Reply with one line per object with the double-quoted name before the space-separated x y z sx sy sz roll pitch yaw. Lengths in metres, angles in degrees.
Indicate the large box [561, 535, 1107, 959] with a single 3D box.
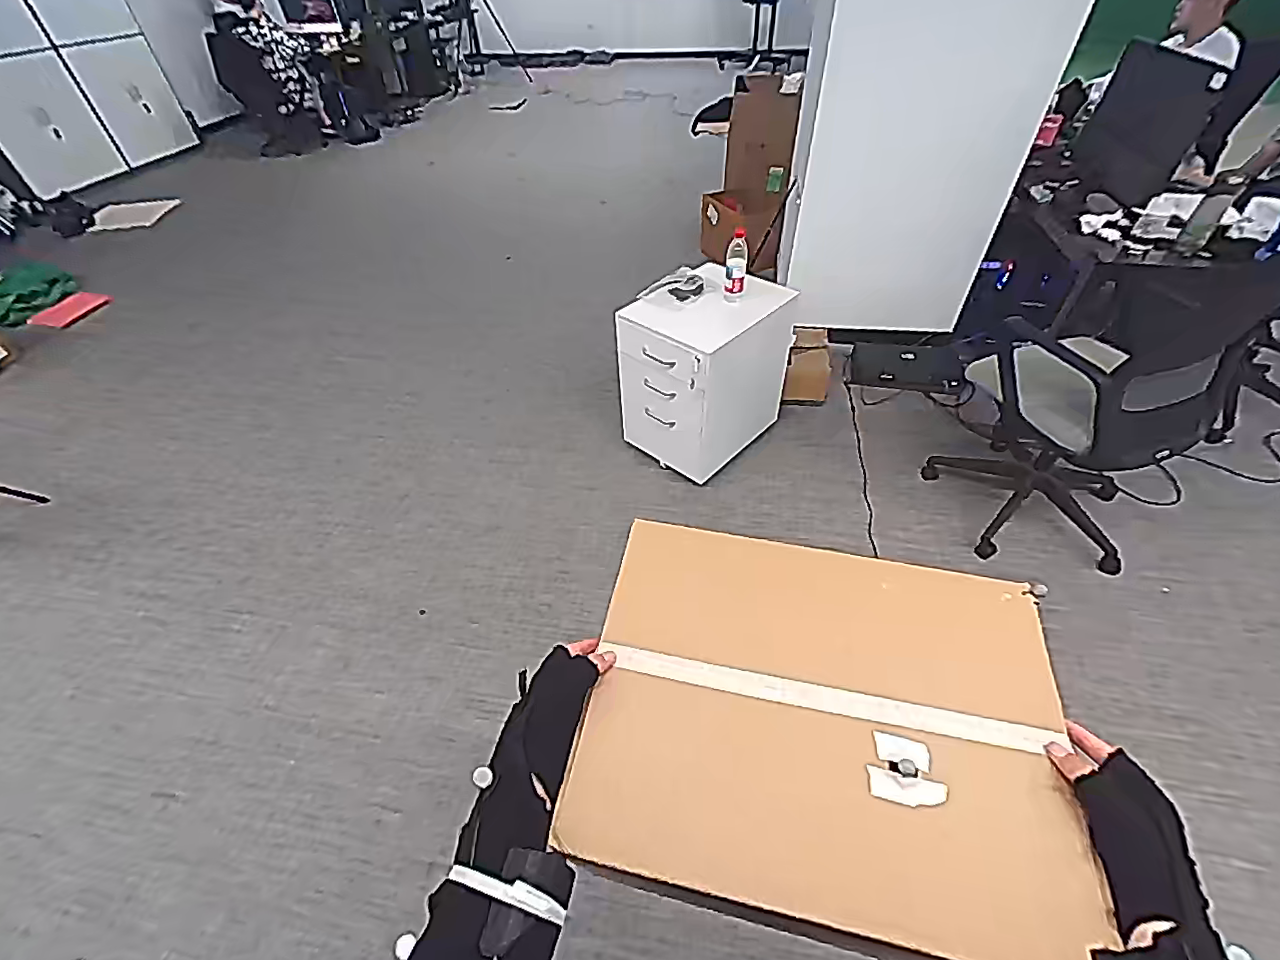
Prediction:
"large box" 0.160 0.298 0.602 0.408 0.320 0.320 9 52 8
